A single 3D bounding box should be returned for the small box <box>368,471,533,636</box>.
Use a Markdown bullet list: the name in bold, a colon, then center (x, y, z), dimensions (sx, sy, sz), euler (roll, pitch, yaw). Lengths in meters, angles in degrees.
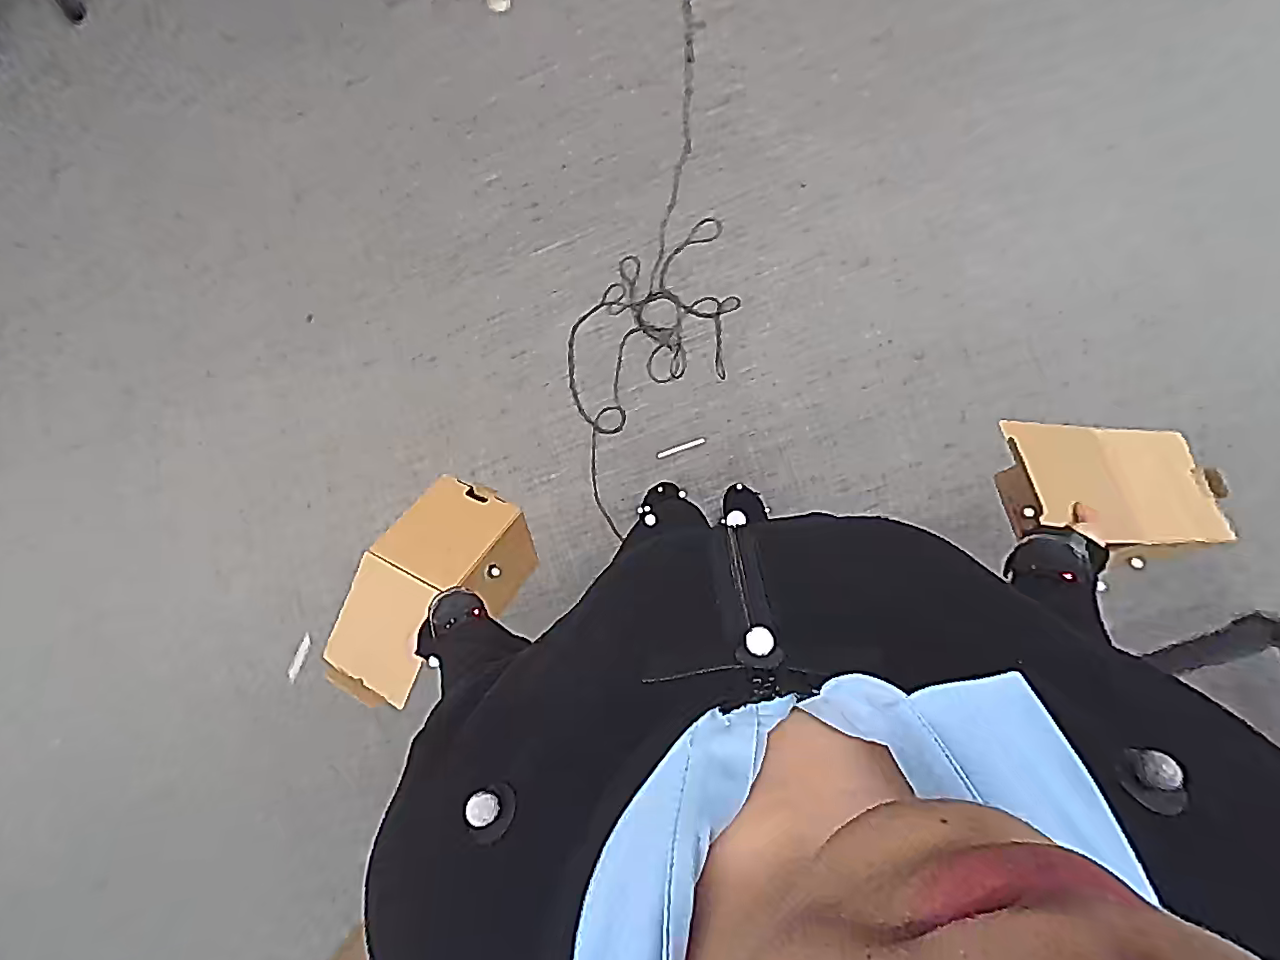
- **small box**: center (-0.294, 0.123, 0.885), dimensions (0.168, 0.176, 0.179), euler (23, 54, 19)
